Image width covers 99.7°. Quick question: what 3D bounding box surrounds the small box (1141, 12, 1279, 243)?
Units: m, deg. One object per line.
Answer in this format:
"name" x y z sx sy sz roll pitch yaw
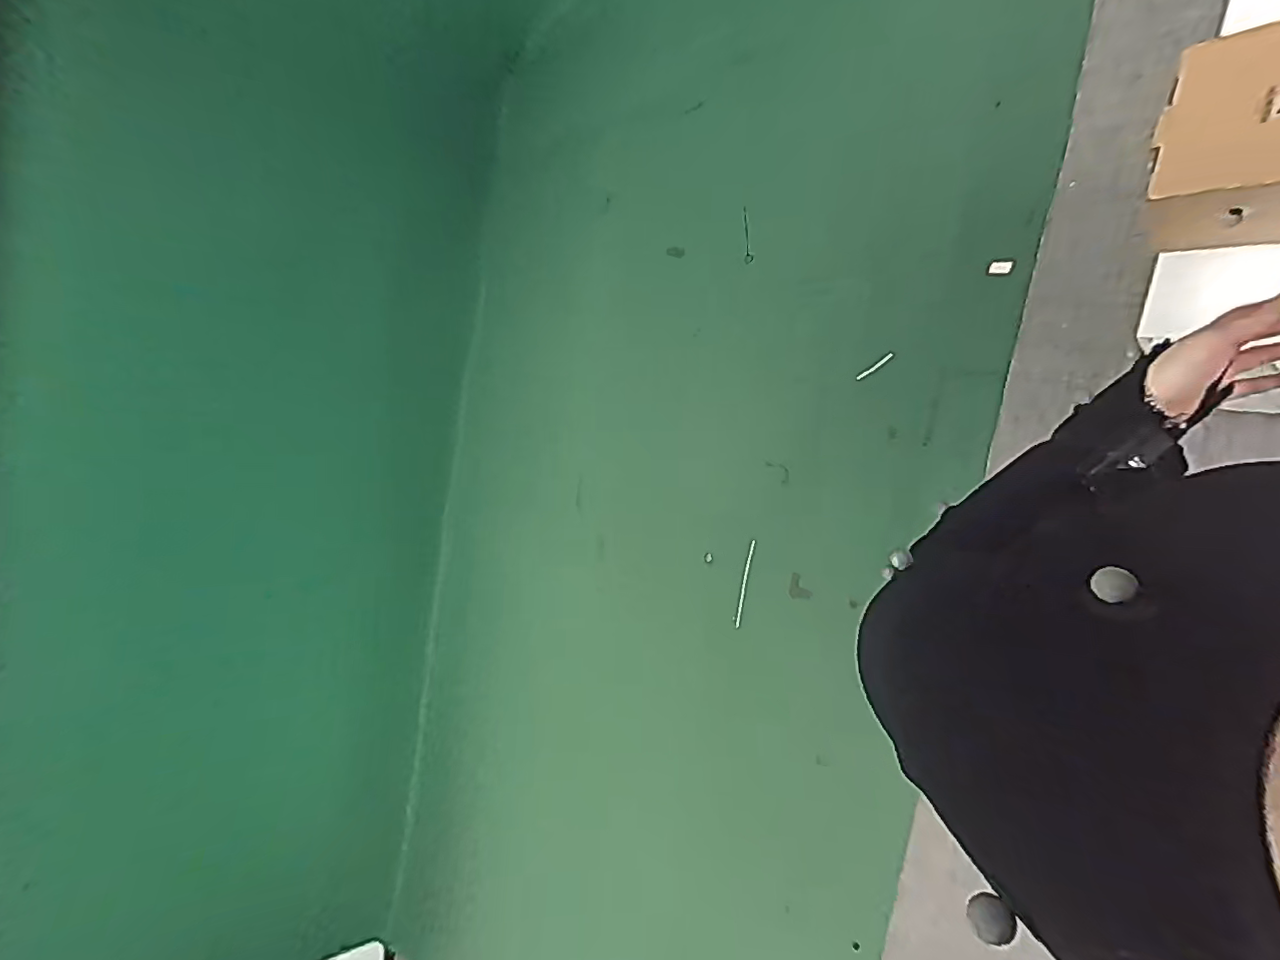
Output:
"small box" 0.691 -0.377 0.590 0.179 0.176 0.168 16 98 46
